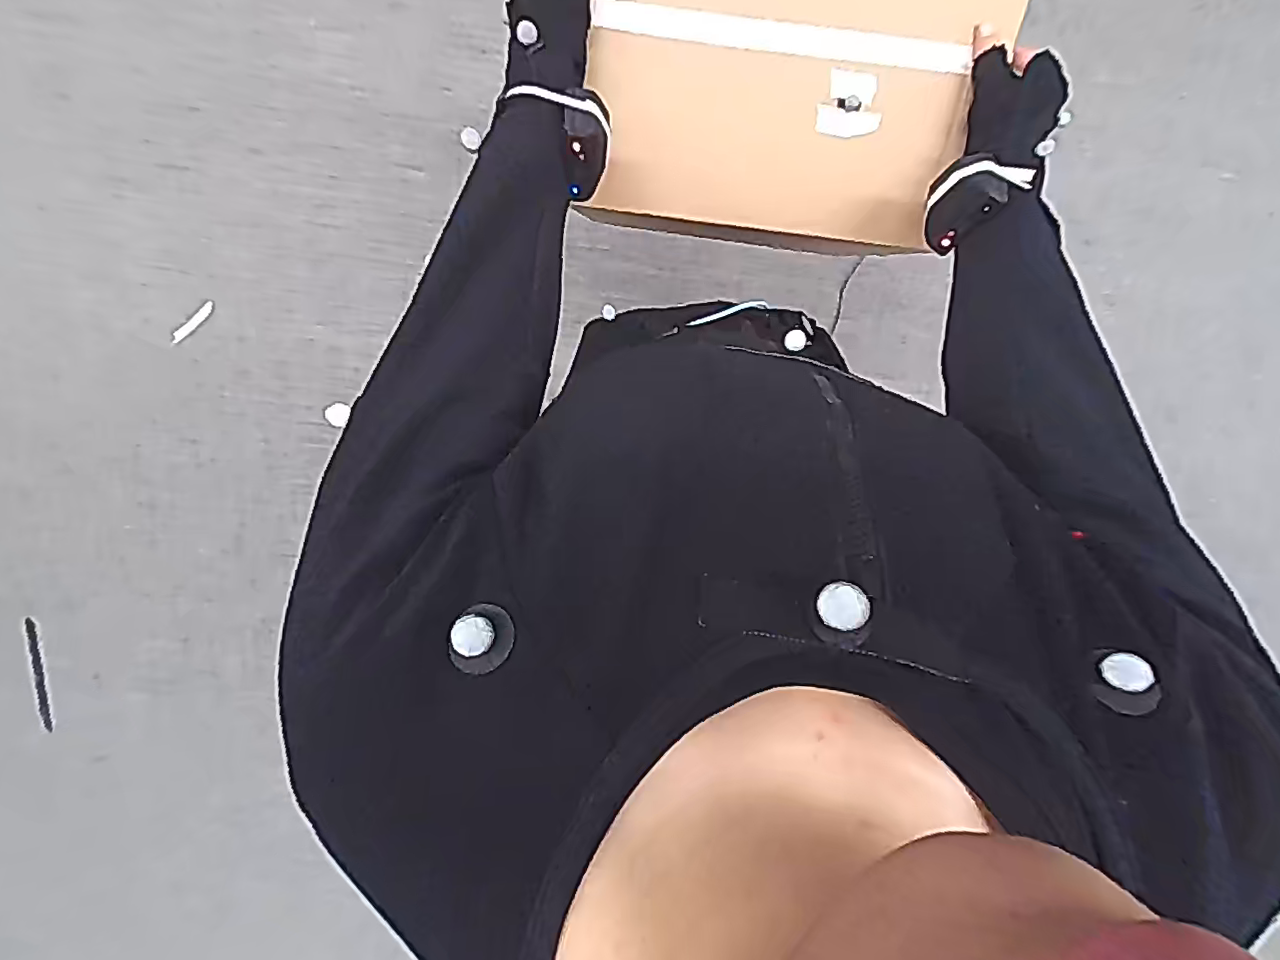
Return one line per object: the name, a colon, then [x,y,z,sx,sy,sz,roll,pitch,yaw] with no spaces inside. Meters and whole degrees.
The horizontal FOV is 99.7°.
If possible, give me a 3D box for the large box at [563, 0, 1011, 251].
large box: [0.131,-0.459,0.640,0.408,0.320,0.320,6,113,-2]
